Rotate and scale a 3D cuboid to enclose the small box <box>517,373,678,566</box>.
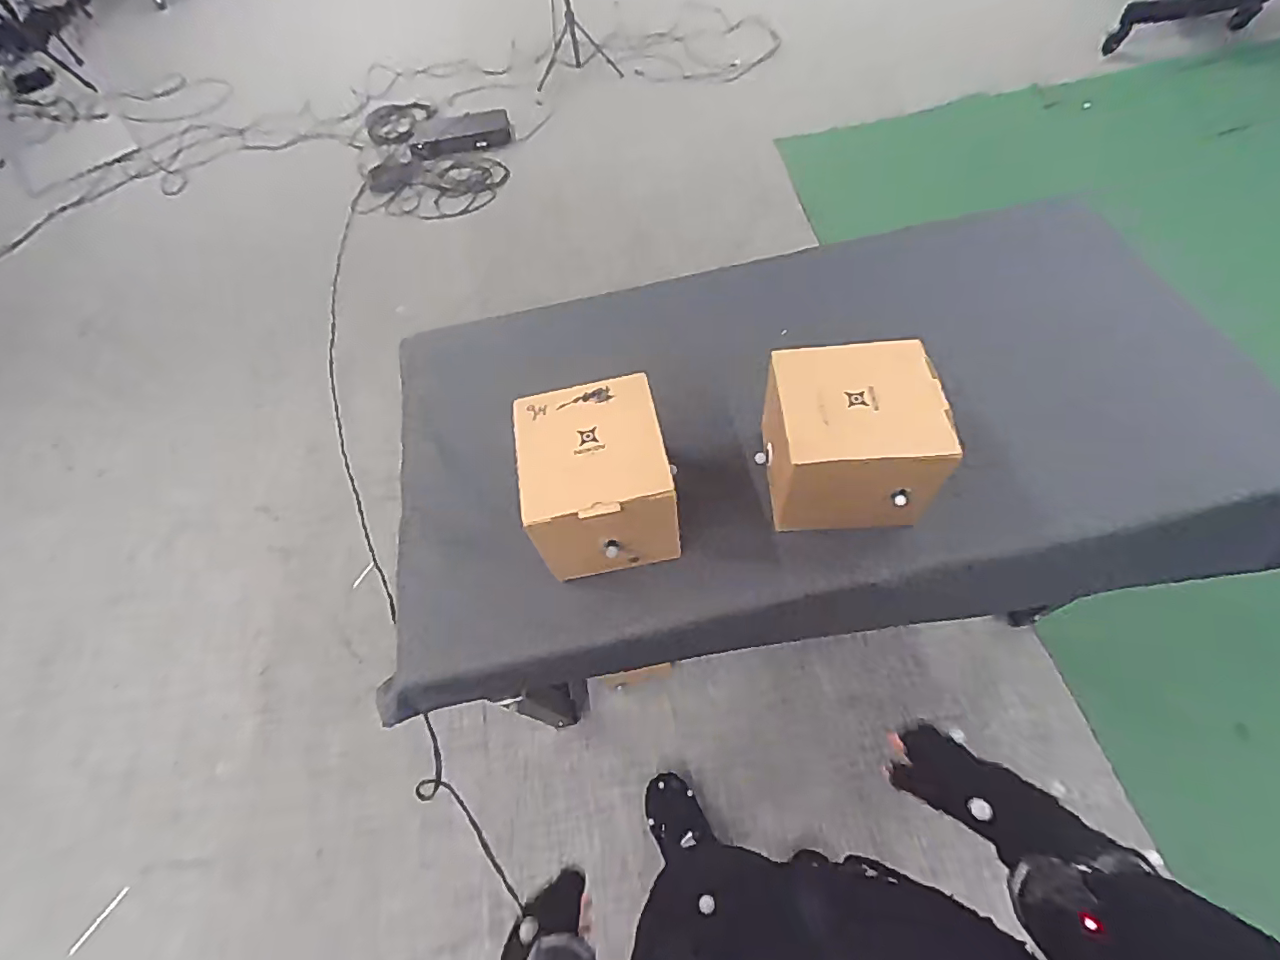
[{"bbox_3d":[-0.049,-0.003,0.682,0.168,0.176,0.179,-11,59,0],"label":"small box"}]

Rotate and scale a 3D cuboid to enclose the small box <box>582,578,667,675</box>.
[{"bbox_3d":[-0.034,0.364,1.316,0.168,0.176,0.179,-14,60,-2],"label":"small box"}]

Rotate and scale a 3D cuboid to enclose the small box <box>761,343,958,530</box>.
[{"bbox_3d":[0.254,-0.047,0.676,0.179,0.176,0.168,-4,59,6],"label":"small box"}]
